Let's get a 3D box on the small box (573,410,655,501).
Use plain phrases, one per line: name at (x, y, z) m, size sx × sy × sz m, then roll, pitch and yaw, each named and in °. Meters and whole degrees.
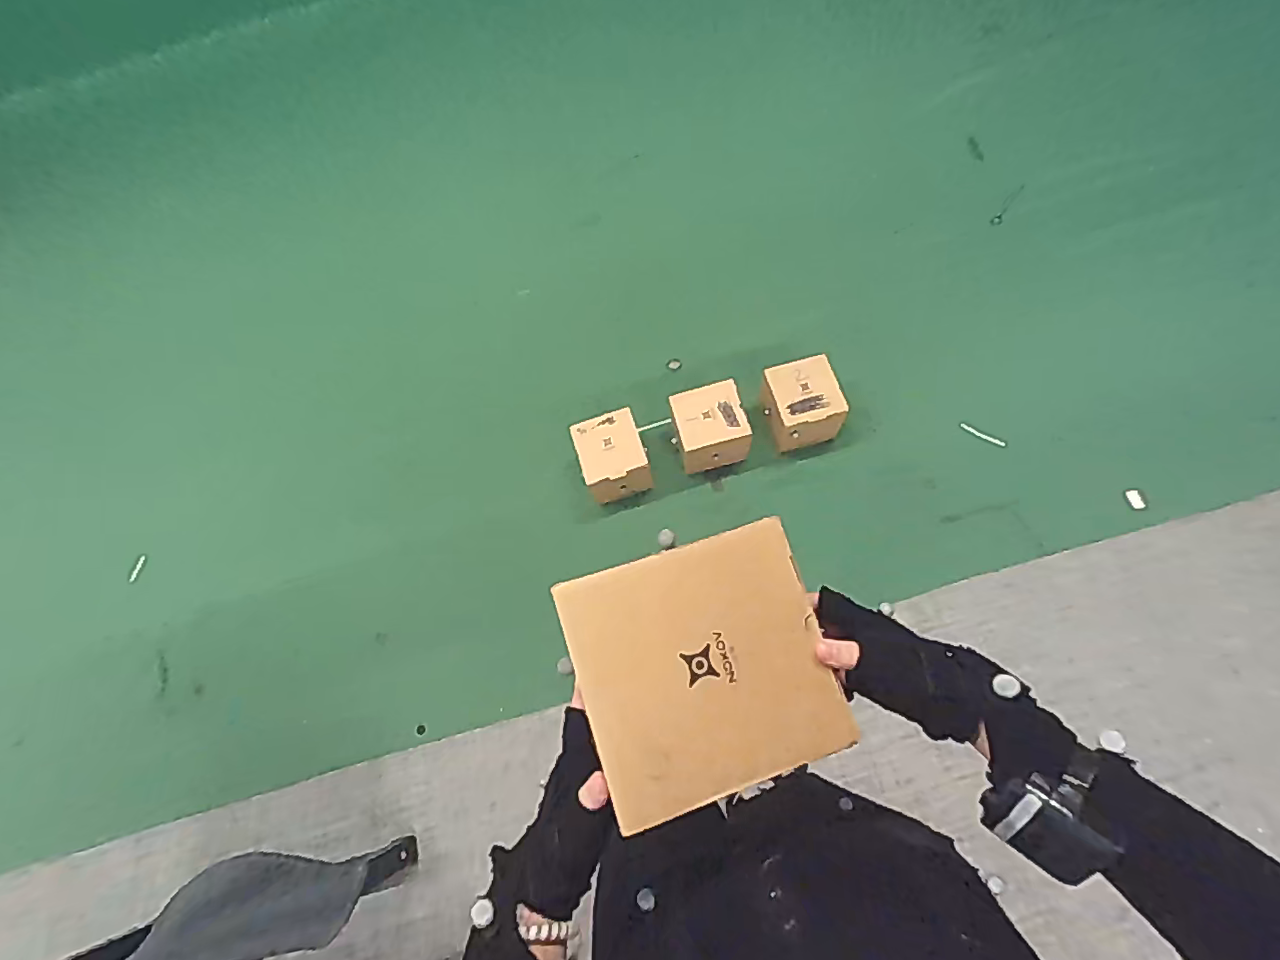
small box at (-0.065, -0.055, 1.437) m, size 0.168 × 0.176 × 0.179 m, roll -18°, pitch 70°, yaw 0°
